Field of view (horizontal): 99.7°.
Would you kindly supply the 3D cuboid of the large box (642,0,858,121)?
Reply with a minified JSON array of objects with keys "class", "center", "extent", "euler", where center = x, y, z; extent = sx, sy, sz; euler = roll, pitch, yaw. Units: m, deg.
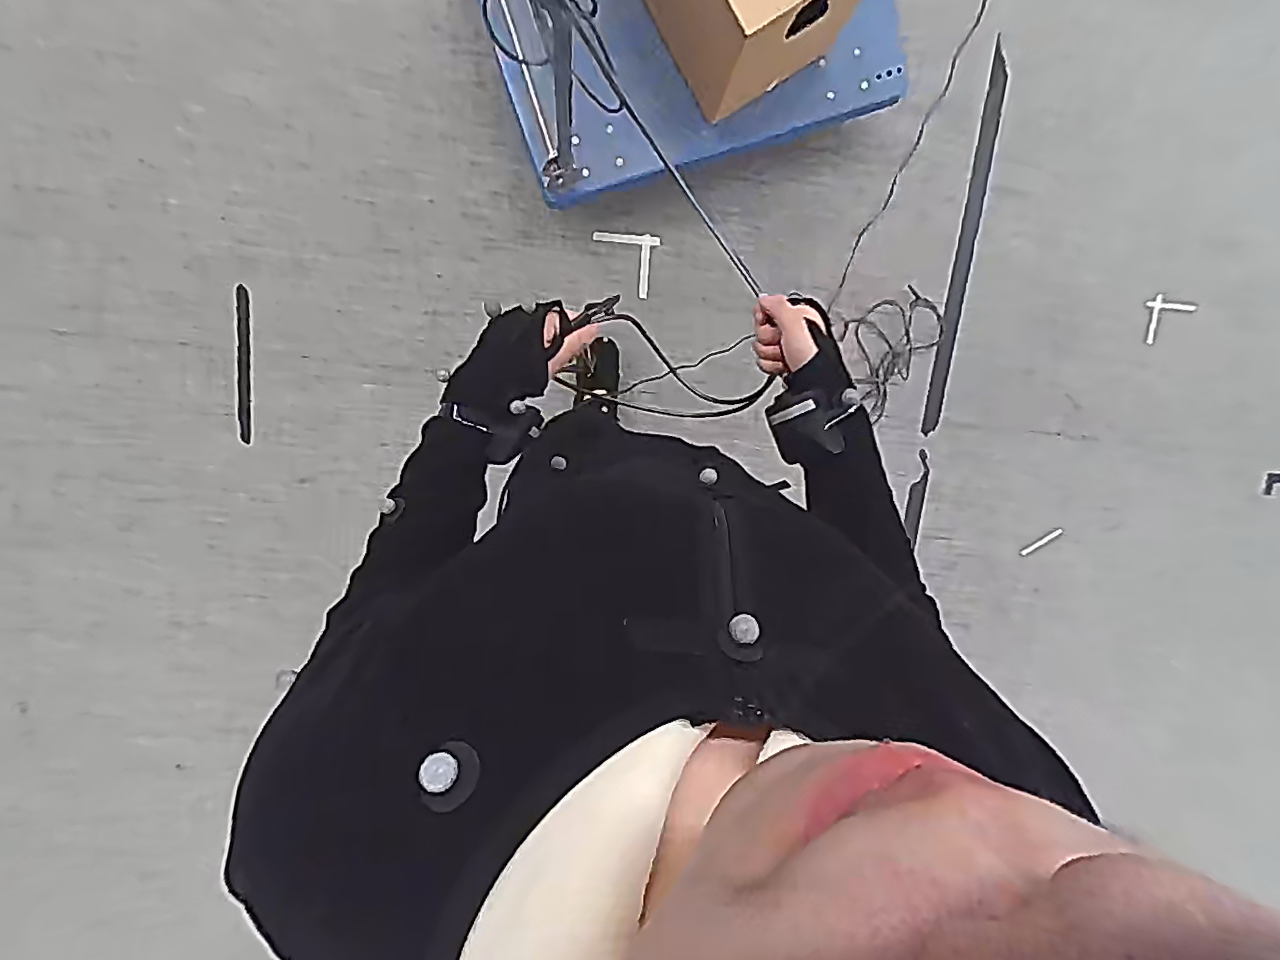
[{"class":"large box","center":[0.188,-1.010,1.016],"extent":[0.320,0.320,0.408],"euler":[-33,101,2]}]
